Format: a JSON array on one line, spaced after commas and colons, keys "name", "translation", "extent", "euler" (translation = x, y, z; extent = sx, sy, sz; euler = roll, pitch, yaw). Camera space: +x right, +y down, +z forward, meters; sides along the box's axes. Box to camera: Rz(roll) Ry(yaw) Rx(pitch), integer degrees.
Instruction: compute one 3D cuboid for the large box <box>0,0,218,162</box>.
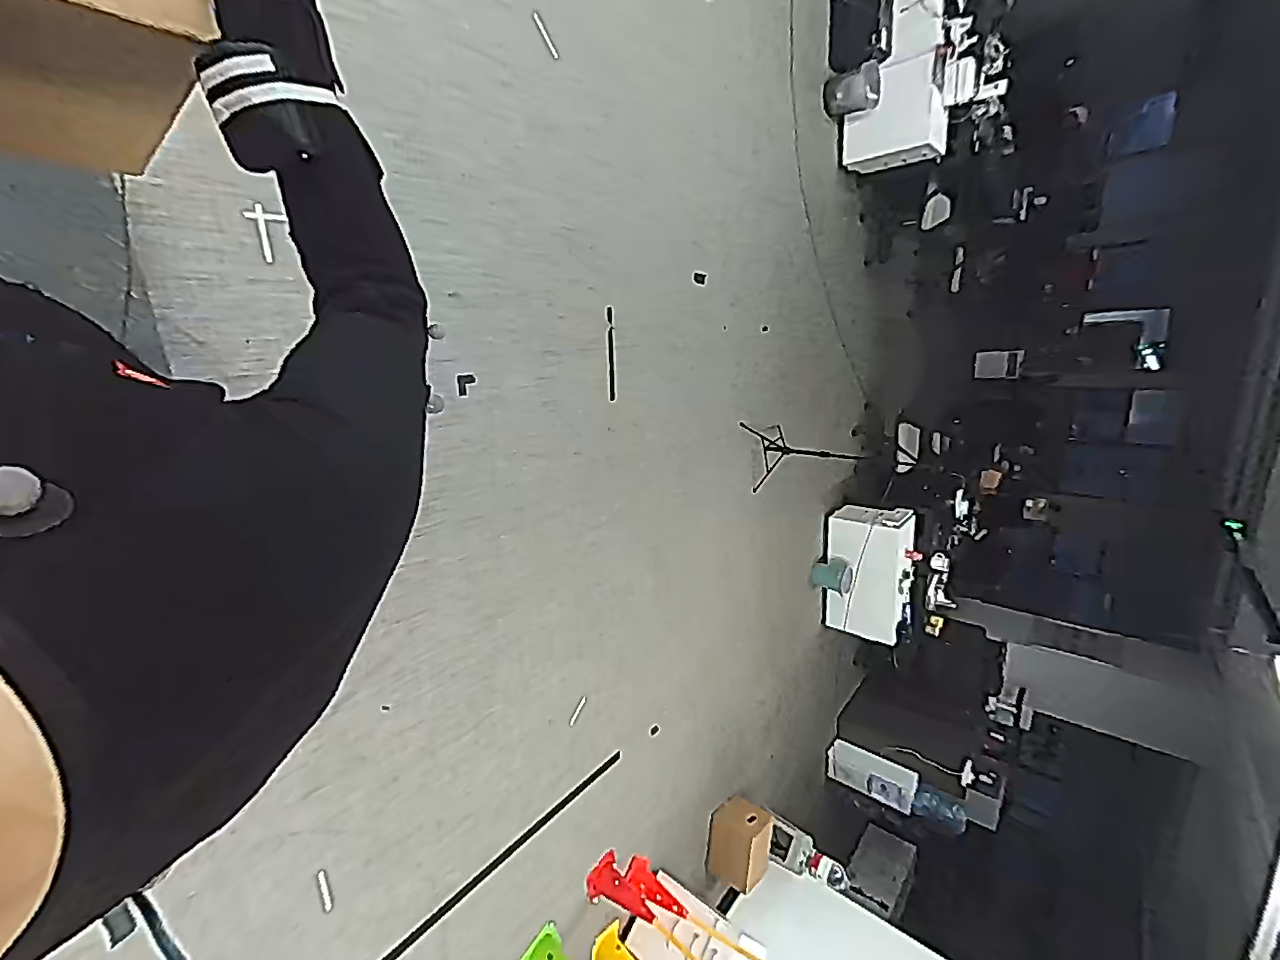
[{"name": "large box", "translation": [-0.536, -0.414, 0.280], "extent": [0.408, 0.320, 0.320], "euler": [-18, 109, -48]}]
